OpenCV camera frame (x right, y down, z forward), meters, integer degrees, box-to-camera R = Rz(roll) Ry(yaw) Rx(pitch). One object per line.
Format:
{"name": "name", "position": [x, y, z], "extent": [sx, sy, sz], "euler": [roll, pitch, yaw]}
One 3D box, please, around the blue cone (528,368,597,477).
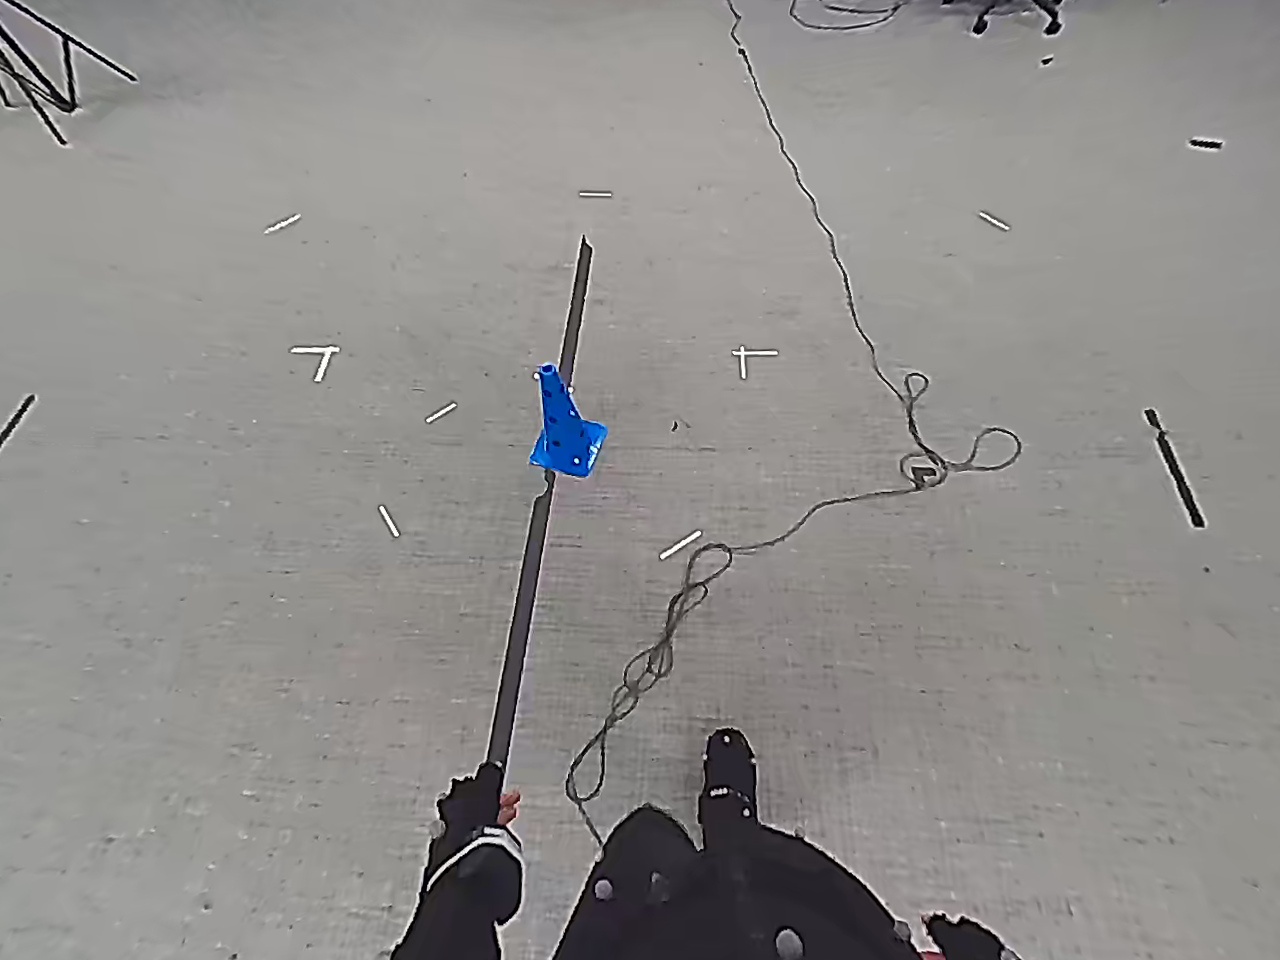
{"name": "blue cone", "position": [-0.250, -0.183, 1.557], "extent": [0.192, 0.380, 0.193], "euler": [16, 62, 12]}
